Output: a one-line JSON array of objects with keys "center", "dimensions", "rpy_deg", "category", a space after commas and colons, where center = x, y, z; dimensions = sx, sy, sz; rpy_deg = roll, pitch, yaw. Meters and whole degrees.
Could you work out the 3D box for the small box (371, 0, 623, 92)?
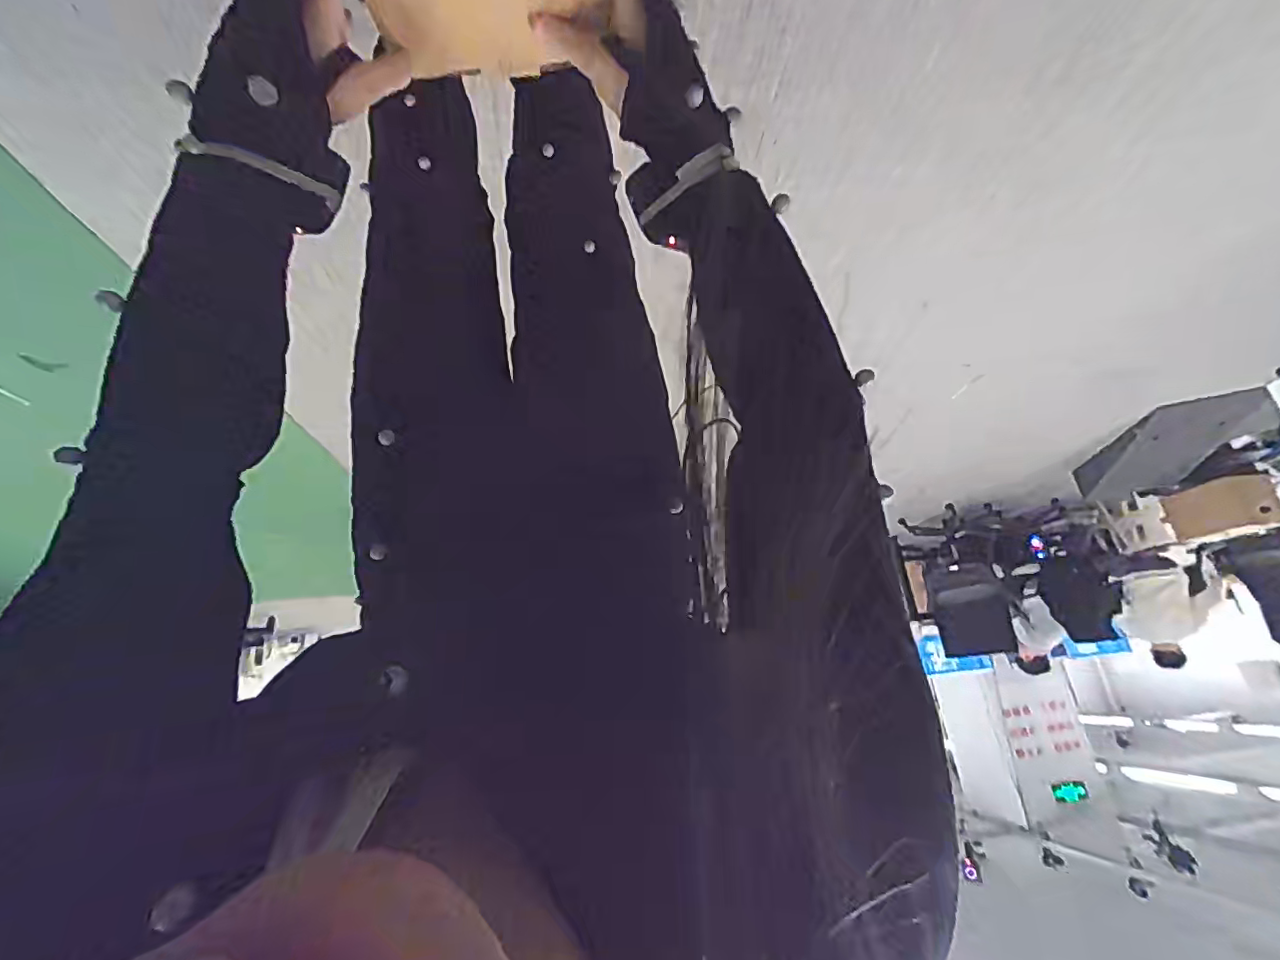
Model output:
[{"center": [-0.103, -0.402, 0.349], "dimensions": [0.168, 0.176, 0.179], "rpy_deg": [-7, 164, -2], "category": "small box"}]
